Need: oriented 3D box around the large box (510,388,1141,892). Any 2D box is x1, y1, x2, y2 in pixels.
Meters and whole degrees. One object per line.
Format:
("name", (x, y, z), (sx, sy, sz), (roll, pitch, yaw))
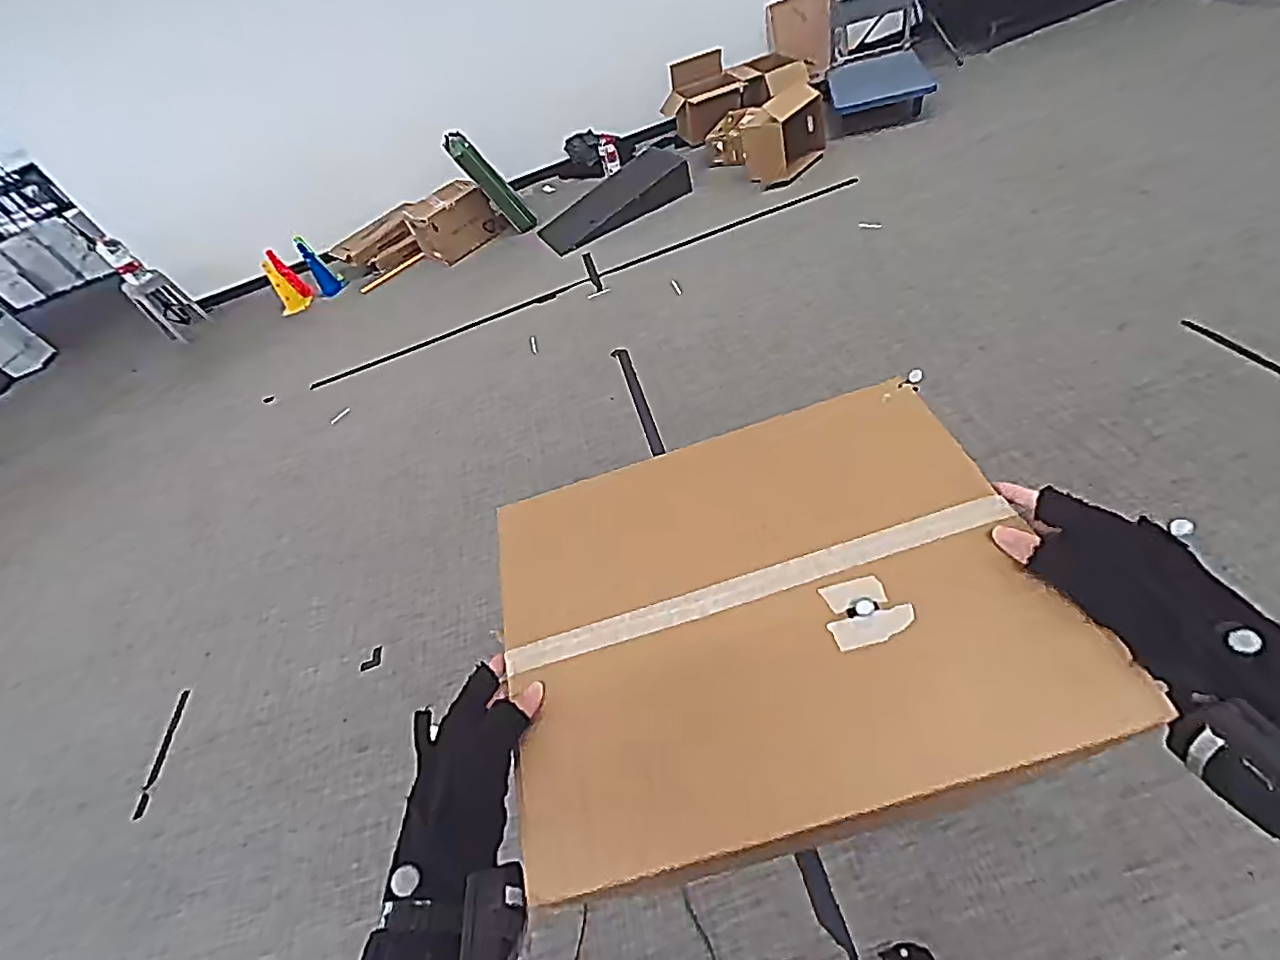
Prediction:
("large box", (0.125, 0.173, 0.549), (0.408, 0.320, 0.320), (-18, 52, 2))
